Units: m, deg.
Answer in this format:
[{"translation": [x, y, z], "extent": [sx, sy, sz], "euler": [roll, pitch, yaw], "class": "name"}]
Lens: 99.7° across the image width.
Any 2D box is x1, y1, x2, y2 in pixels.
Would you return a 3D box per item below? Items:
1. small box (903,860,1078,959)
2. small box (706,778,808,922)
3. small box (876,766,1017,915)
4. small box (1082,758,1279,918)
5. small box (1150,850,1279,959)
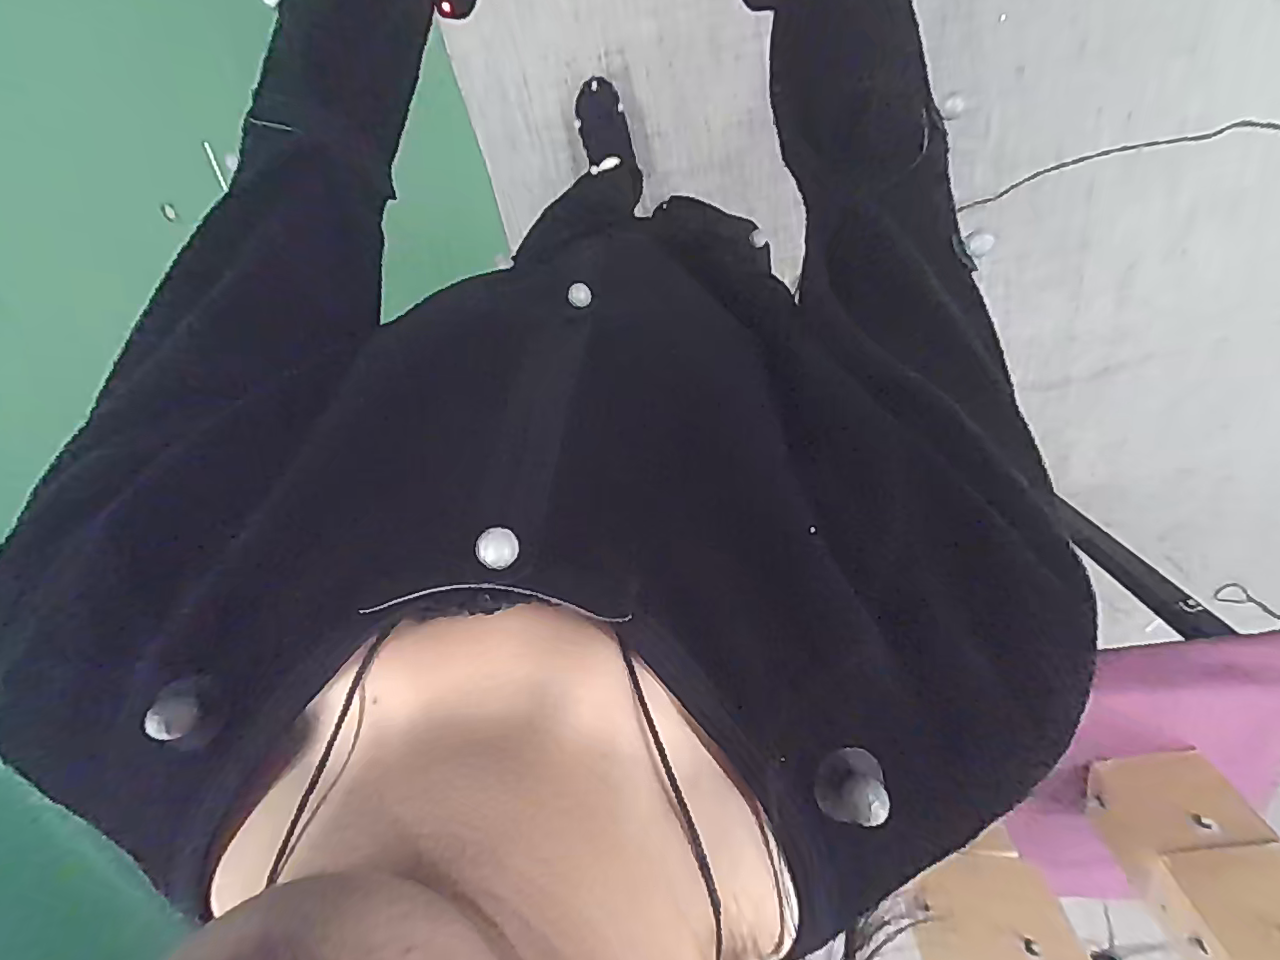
[{"translation": [0.534, 0.715, 0.822], "extent": [0.179, 0.176, 0.168], "euler": [3, 116, 4], "class": "small box"}, {"translation": [0.216, 0.688, 1.019], "extent": [0.168, 0.176, 0.179], "euler": [-6, 115, 7], "class": "small box"}, {"translation": [0.536, 0.646, 0.972], "extent": [0.168, 0.176, 0.179], "euler": [-7, 115, 8], "class": "small box"}, {"translation": [0.907, 0.602, 0.920], "extent": [0.179, 0.176, 0.168], "euler": [-13, 114, 11], "class": "small box"}, {"translation": [0.889, 0.670, 0.774], "extent": [0.179, 0.176, 0.168], "euler": [-15, 113, 11], "class": "small box"}]
